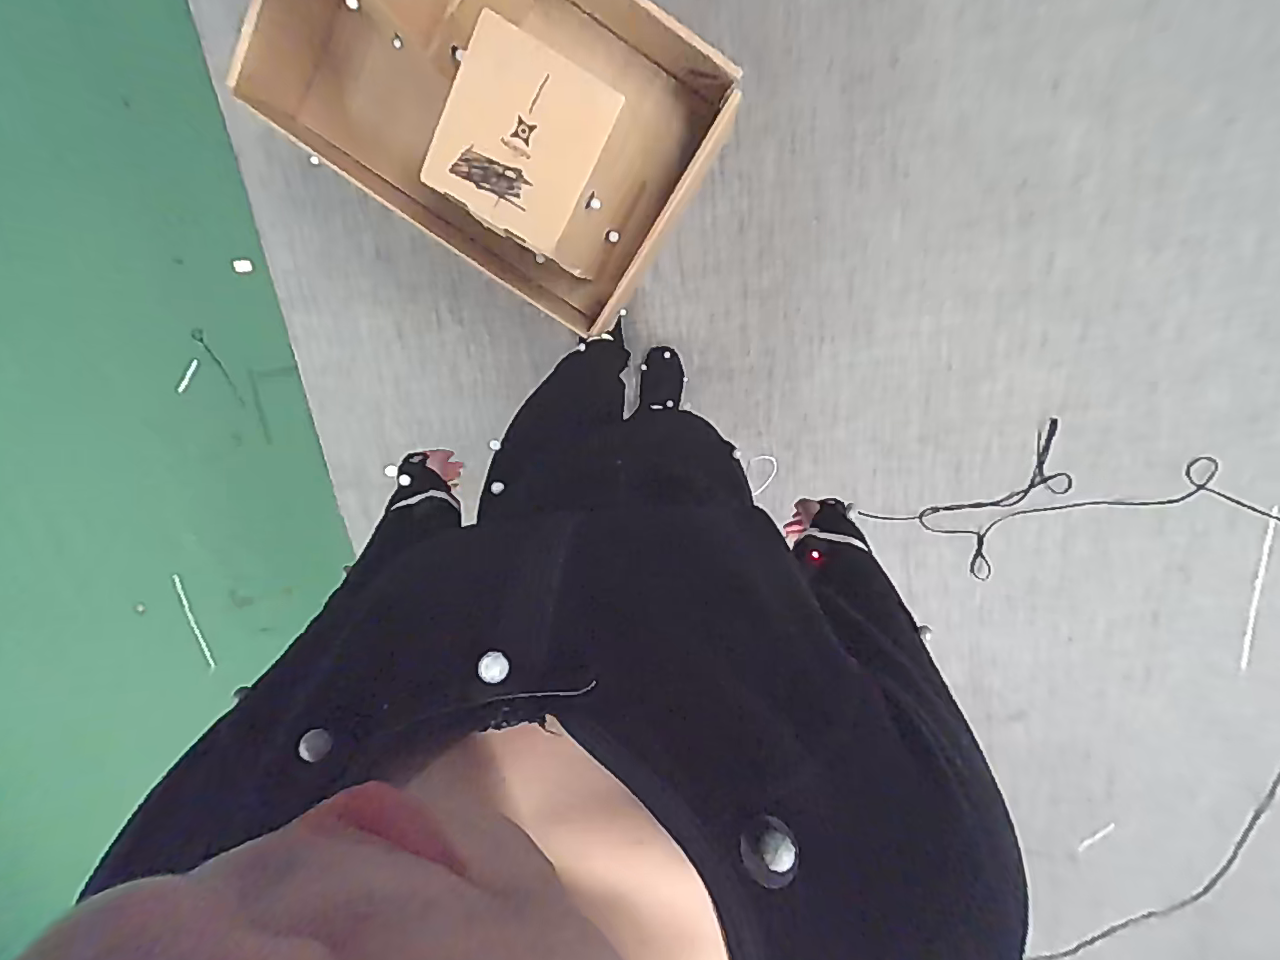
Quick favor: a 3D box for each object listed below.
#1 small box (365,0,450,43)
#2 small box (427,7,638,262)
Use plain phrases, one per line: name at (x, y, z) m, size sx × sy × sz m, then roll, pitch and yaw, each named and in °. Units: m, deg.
small box at (-0.291, -0.631, 0.578) m, size 0.168 × 0.176 × 0.179 m, roll 35°, pitch 107°, yaw -7°
small box at (-0.113, -0.381, 0.641) m, size 0.168 × 0.176 × 0.179 m, roll 30°, pitch 107°, yaw -4°
